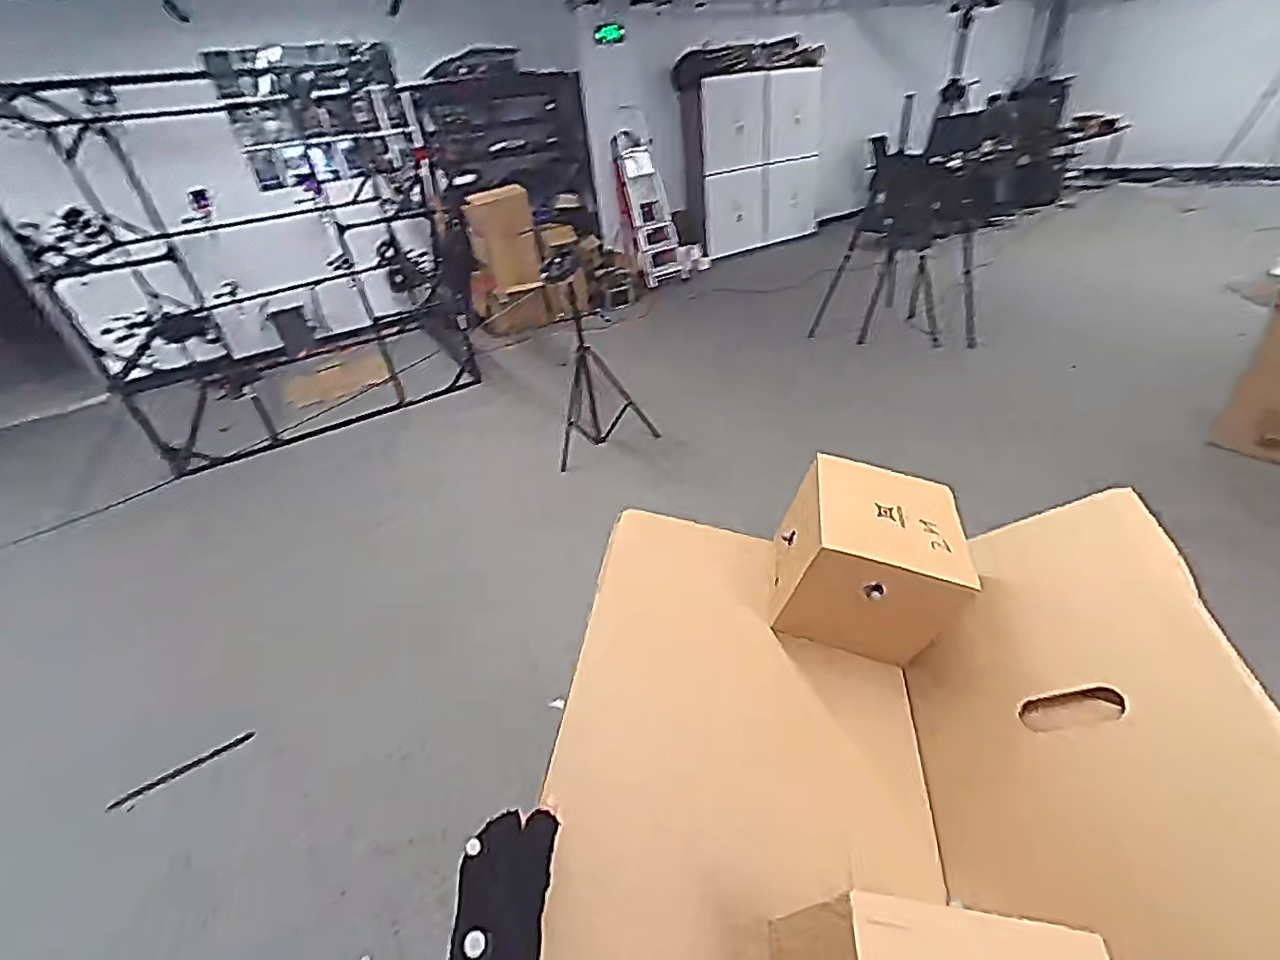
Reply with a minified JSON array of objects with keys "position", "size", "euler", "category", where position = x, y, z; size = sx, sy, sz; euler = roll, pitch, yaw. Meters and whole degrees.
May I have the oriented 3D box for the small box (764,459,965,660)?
[{"position":[0.267,0.104,0.689],"size":[0.179,0.176,0.168],"euler":[16,43,2],"category":"small box"}]
